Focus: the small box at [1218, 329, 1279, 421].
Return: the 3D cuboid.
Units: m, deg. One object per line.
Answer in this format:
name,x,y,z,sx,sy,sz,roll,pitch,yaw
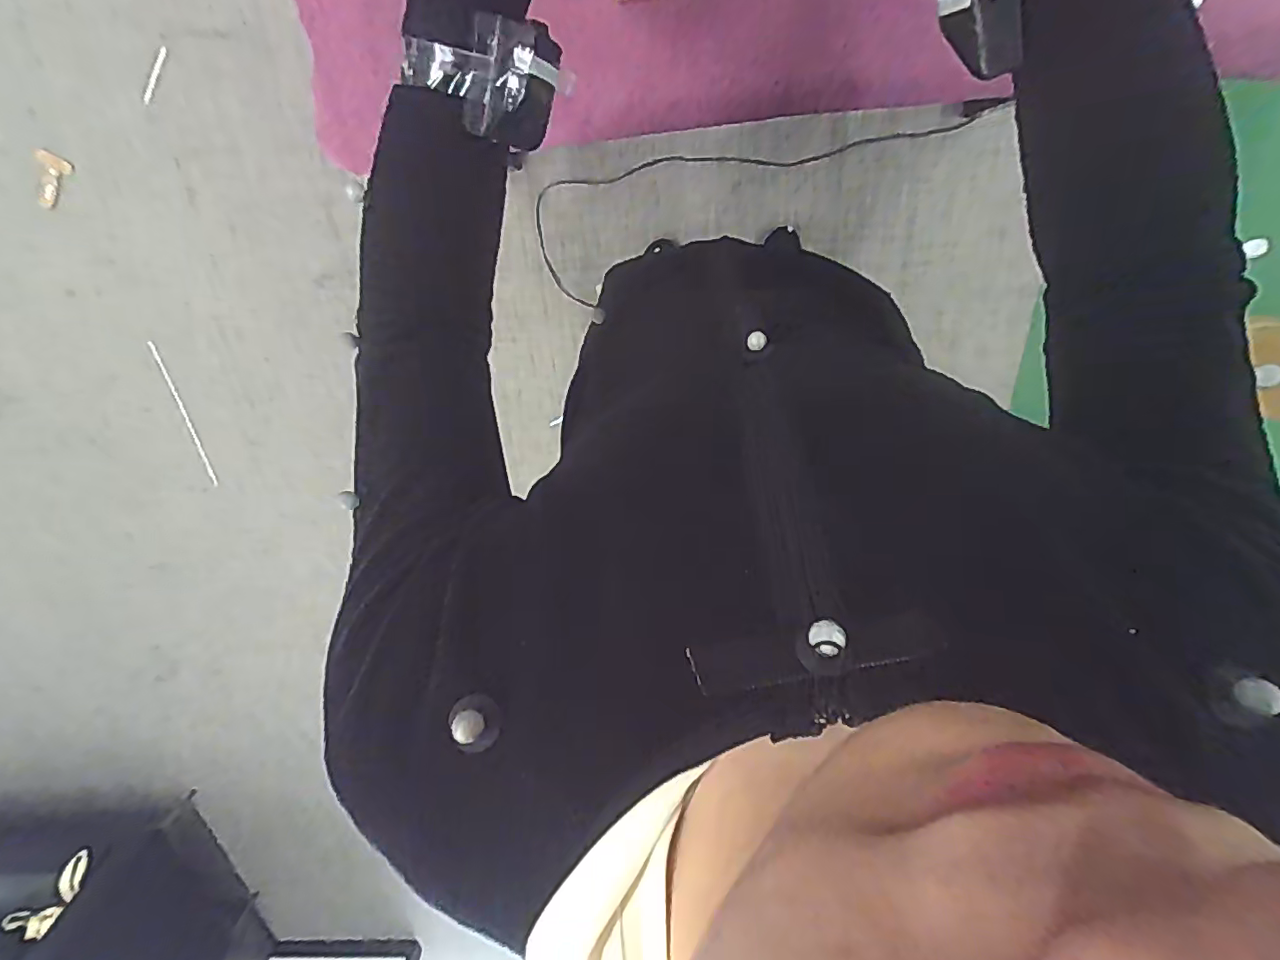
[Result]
small box,1.528,-0.252,1.262,0.168,0.176,0.179,-5,113,5
